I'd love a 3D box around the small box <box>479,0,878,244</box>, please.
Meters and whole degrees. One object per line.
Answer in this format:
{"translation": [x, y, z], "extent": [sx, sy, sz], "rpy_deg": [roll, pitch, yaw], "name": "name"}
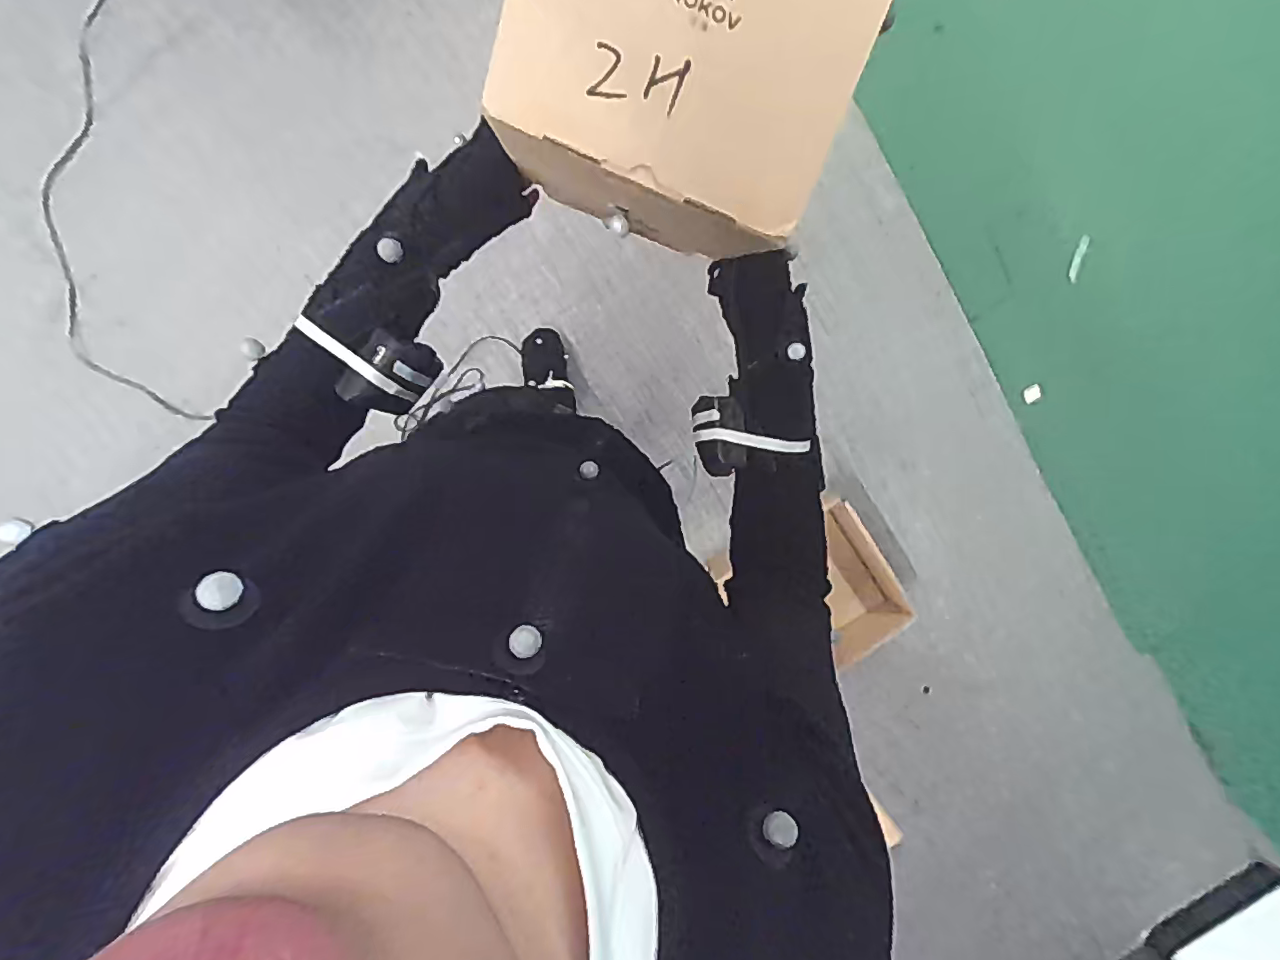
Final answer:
{"translation": [0.020, -0.258, 0.316], "extent": [0.168, 0.176, 0.179], "rpy_deg": [17, 108, -12], "name": "small box"}
